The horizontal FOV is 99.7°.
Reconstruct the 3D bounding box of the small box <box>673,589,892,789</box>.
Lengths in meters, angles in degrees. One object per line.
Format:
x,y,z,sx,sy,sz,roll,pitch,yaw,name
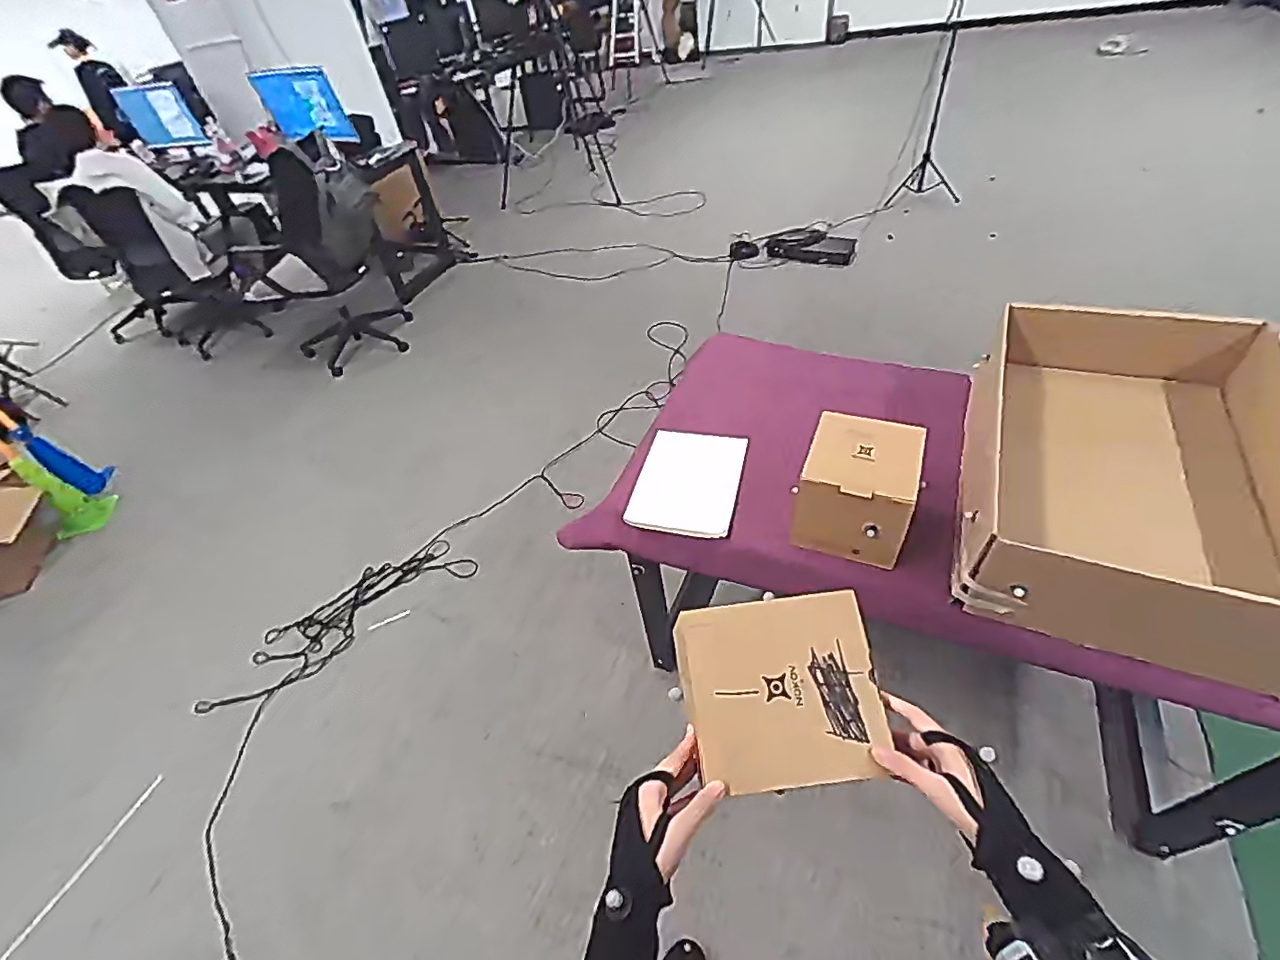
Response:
0.134,0.220,0.583,0.179,0.176,0.168,-6,68,-1,small box

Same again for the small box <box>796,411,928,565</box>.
0.364,0.014,0.904,0.168,0.176,0.179,14,49,22,small box
